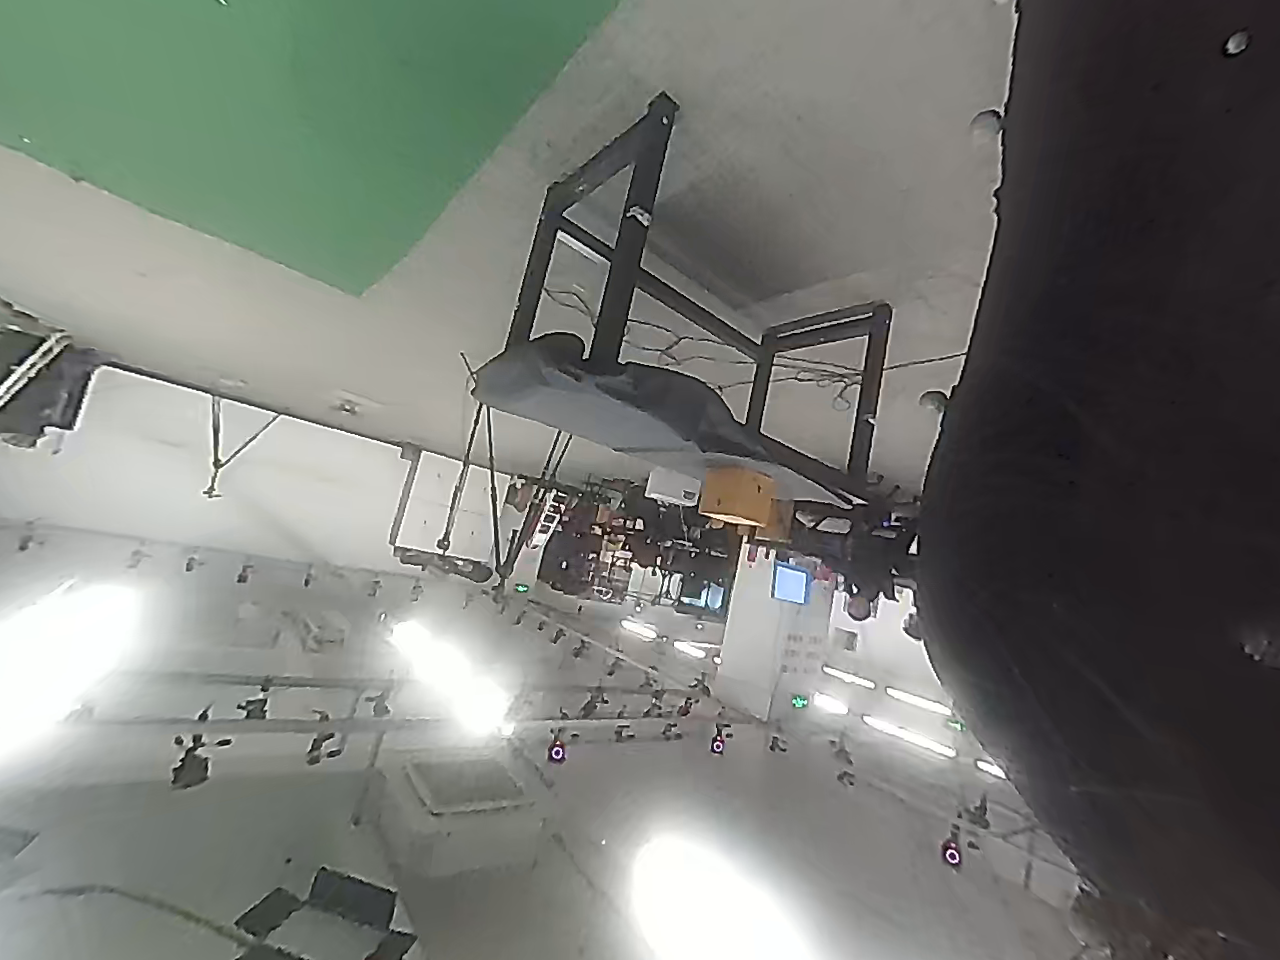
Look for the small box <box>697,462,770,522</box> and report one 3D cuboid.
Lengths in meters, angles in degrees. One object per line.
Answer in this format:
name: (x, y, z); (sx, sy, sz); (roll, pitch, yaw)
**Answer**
small box: (0.327, 0.039, 1.878); (0.168, 0.176, 0.179); (19, 170, -35)
